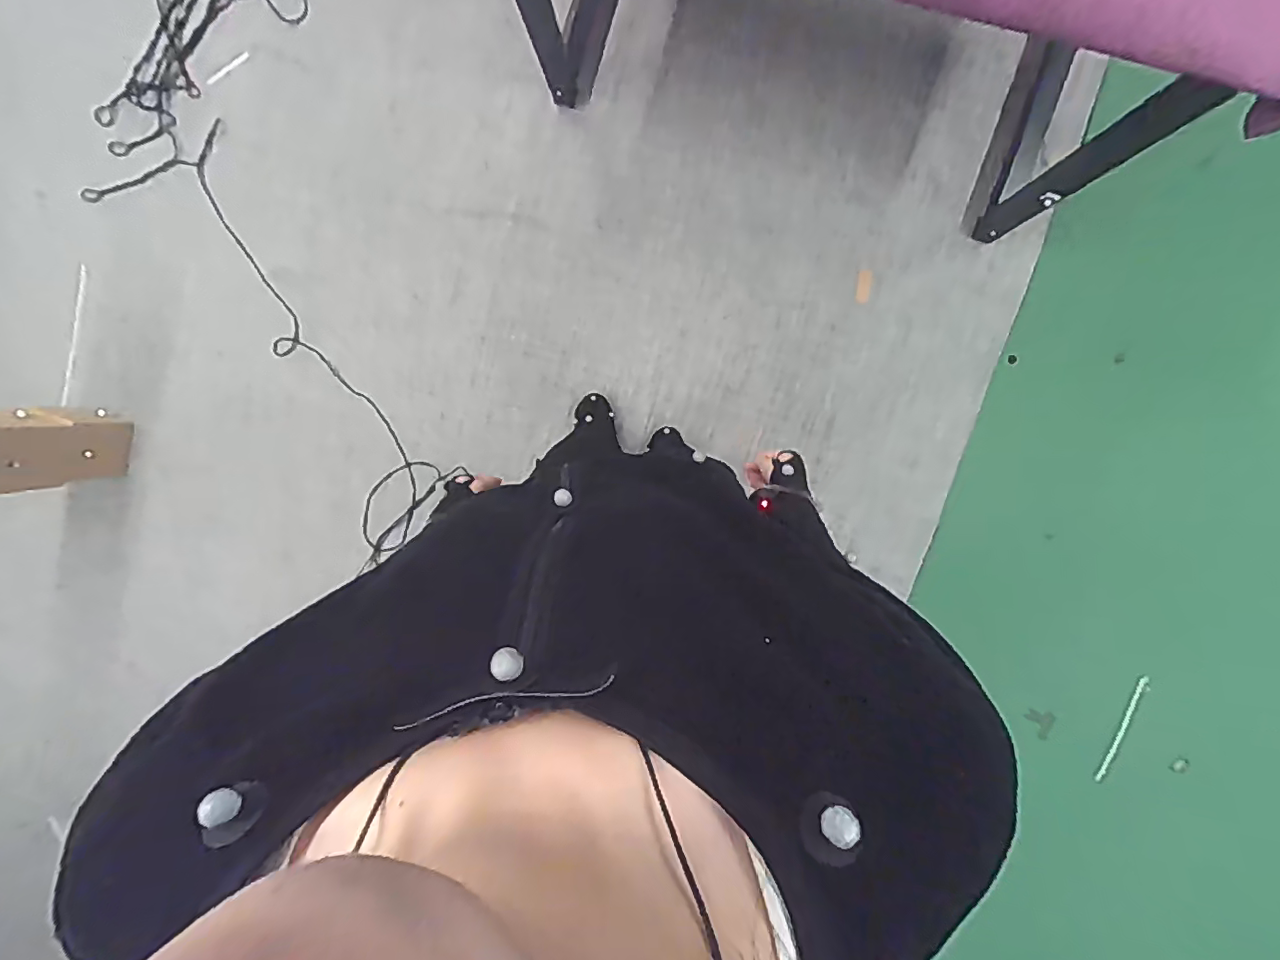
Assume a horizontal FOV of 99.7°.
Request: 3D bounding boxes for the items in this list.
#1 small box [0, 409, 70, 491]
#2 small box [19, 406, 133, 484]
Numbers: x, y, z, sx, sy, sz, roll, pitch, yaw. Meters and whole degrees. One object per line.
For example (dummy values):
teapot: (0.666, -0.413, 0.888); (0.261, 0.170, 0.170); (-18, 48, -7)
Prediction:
small box: (-1.614, -0.076, 1.370); (0.168, 0.176, 0.179); (16, 97, 1)
small box: (-1.598, -0.101, 1.532); (0.168, 0.176, 0.179); (16, 96, 2)
